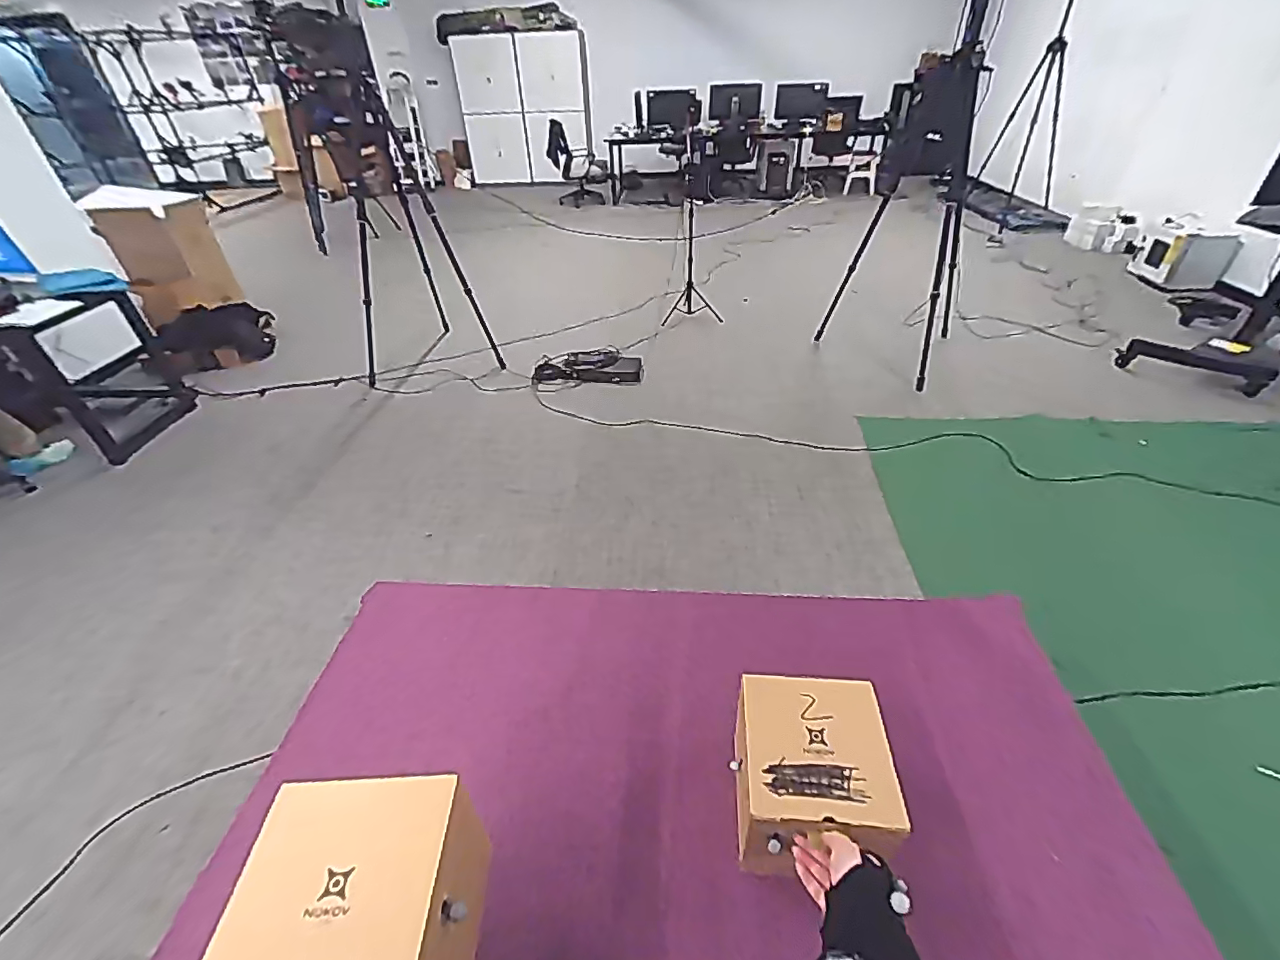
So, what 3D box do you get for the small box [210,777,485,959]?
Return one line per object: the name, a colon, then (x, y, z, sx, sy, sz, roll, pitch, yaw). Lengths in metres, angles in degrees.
small box: (-0.250, 0.405, 0.501, 0.168, 0.176, 0.179, -2, 38, -1)
